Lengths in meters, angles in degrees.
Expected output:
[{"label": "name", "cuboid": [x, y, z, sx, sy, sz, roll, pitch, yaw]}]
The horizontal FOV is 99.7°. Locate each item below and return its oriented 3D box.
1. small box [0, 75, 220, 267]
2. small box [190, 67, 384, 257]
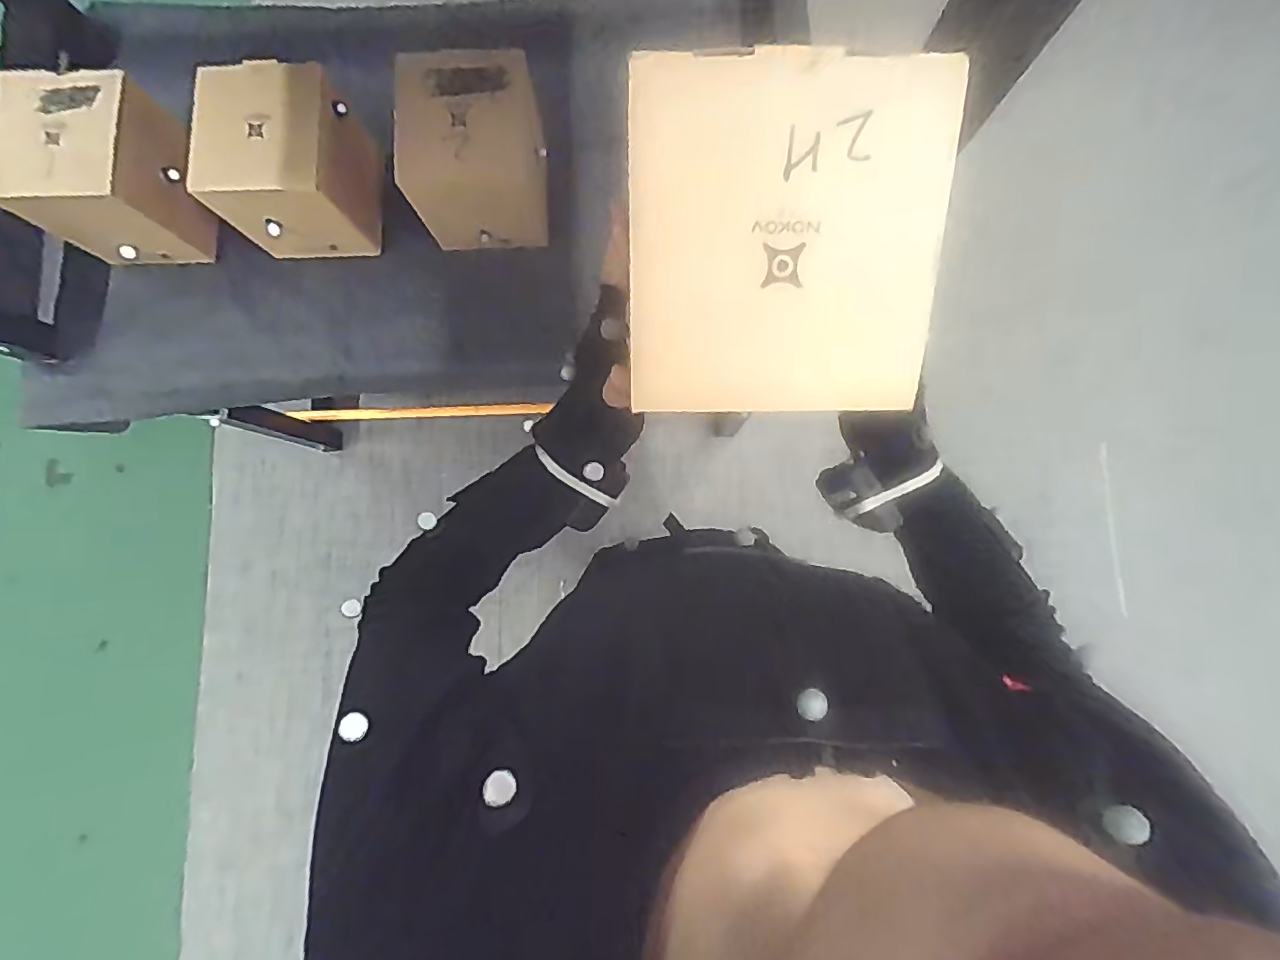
[{"label": "small box", "cuboid": [-0.737, -0.427, 0.767, 0.168, 0.176, 0.179, -1, 84, 1]}, {"label": "small box", "cuboid": [-0.484, -0.434, 0.767, 0.168, 0.176, 0.179, -1, 83, 1]}]
